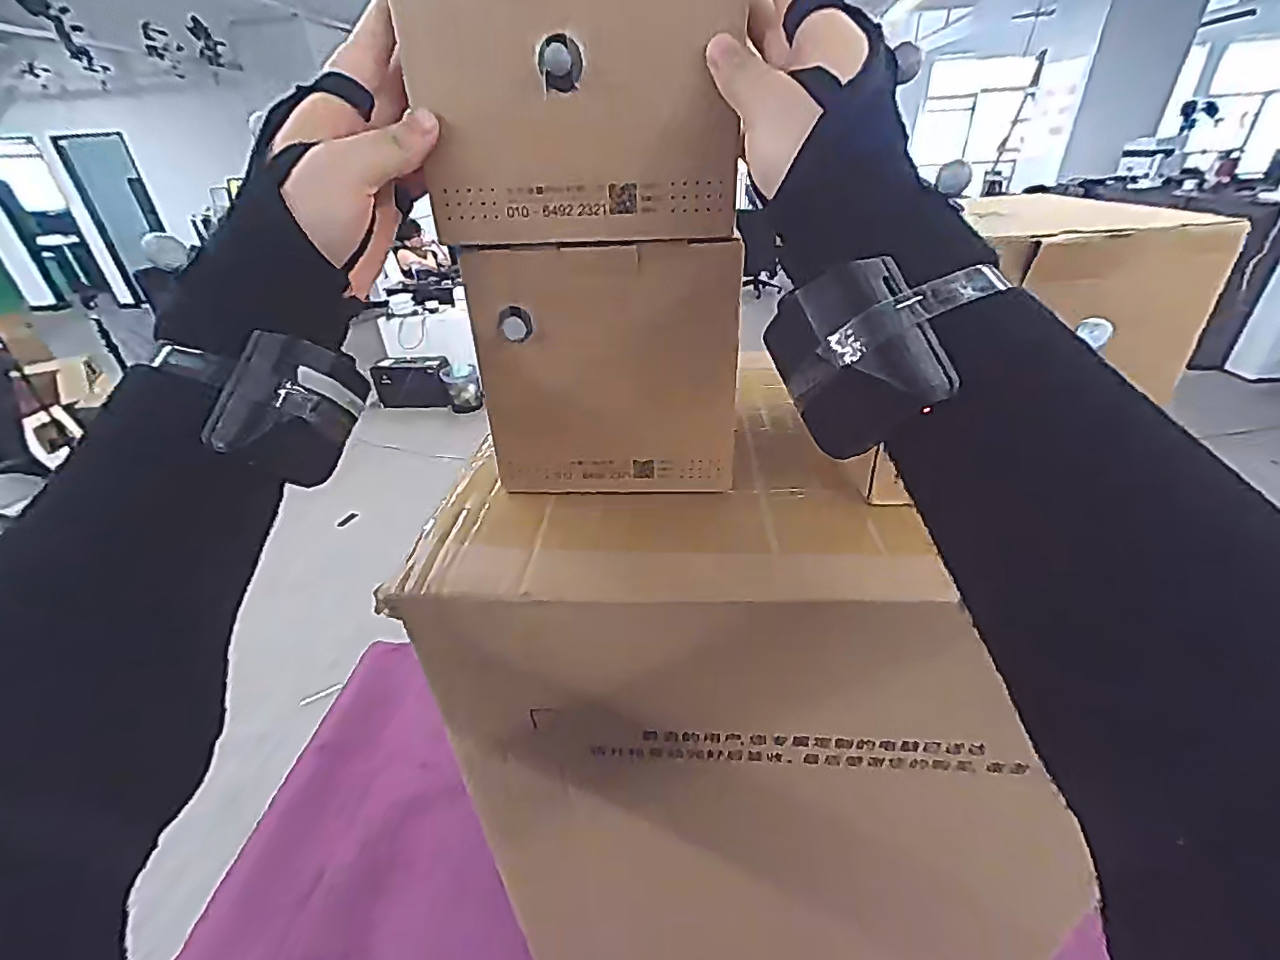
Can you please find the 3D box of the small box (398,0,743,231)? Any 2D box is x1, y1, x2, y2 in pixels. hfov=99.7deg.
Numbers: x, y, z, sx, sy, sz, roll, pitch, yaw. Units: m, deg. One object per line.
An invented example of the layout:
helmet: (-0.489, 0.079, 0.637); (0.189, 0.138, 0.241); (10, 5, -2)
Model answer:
small box: (-0.031, -0.249, 0.328); (0.168, 0.176, 0.179); (-1, 30, 1)

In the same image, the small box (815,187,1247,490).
small box: (0.233, -0.108, 0.390); (0.168, 0.176, 0.179); (-3, 32, 3)
